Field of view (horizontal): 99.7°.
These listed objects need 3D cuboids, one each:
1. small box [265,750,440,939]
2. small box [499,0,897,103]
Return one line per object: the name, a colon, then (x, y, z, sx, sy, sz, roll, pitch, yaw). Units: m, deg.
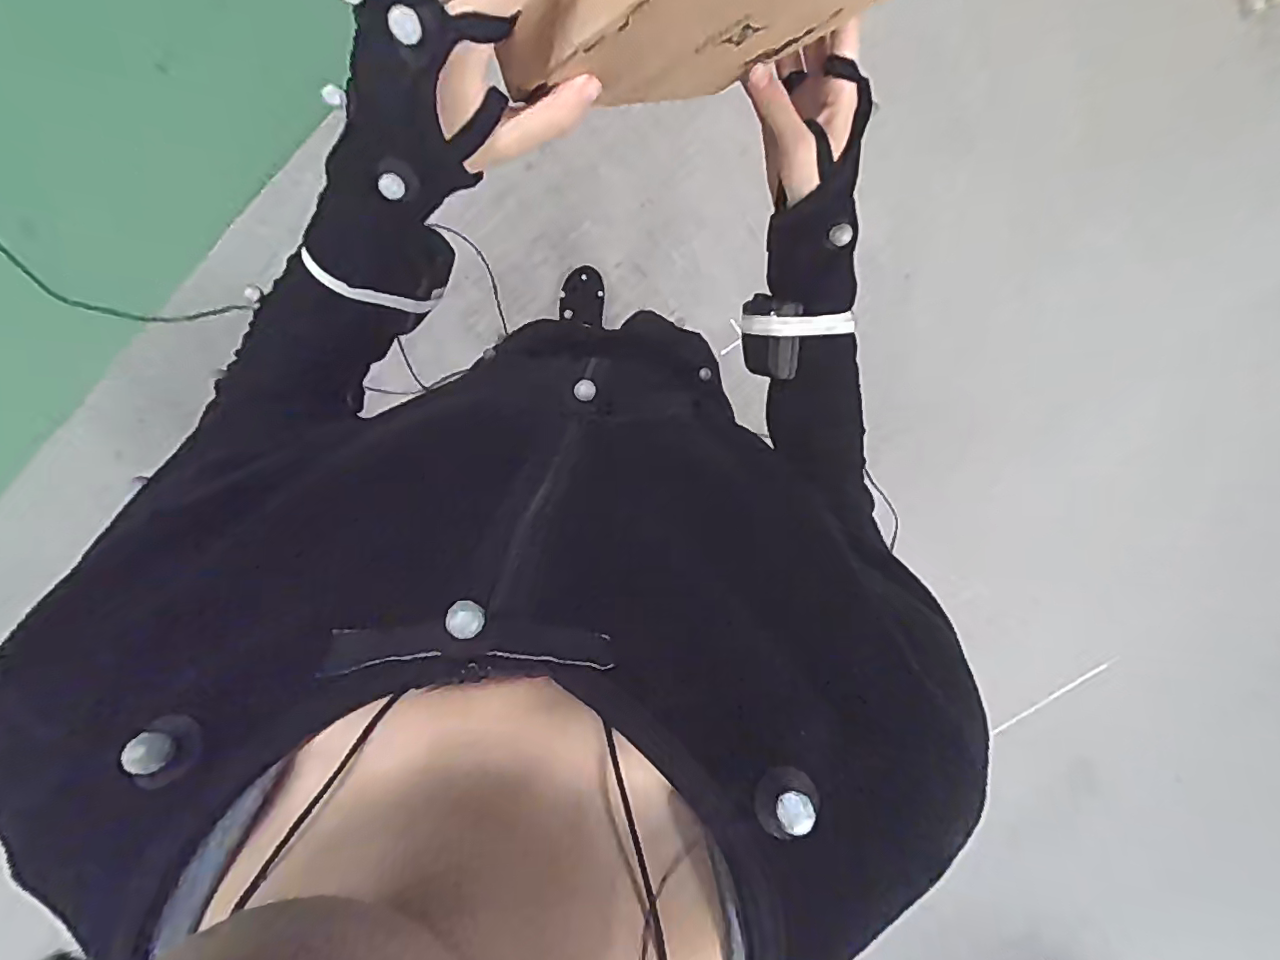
small box: (-0.458, 0.593, 0.892, 0.168, 0.176, 0.179, 35, 105, -16)
small box: (0.026, -0.297, 0.239, 0.179, 0.168, 0.176, -32, 118, -36)
